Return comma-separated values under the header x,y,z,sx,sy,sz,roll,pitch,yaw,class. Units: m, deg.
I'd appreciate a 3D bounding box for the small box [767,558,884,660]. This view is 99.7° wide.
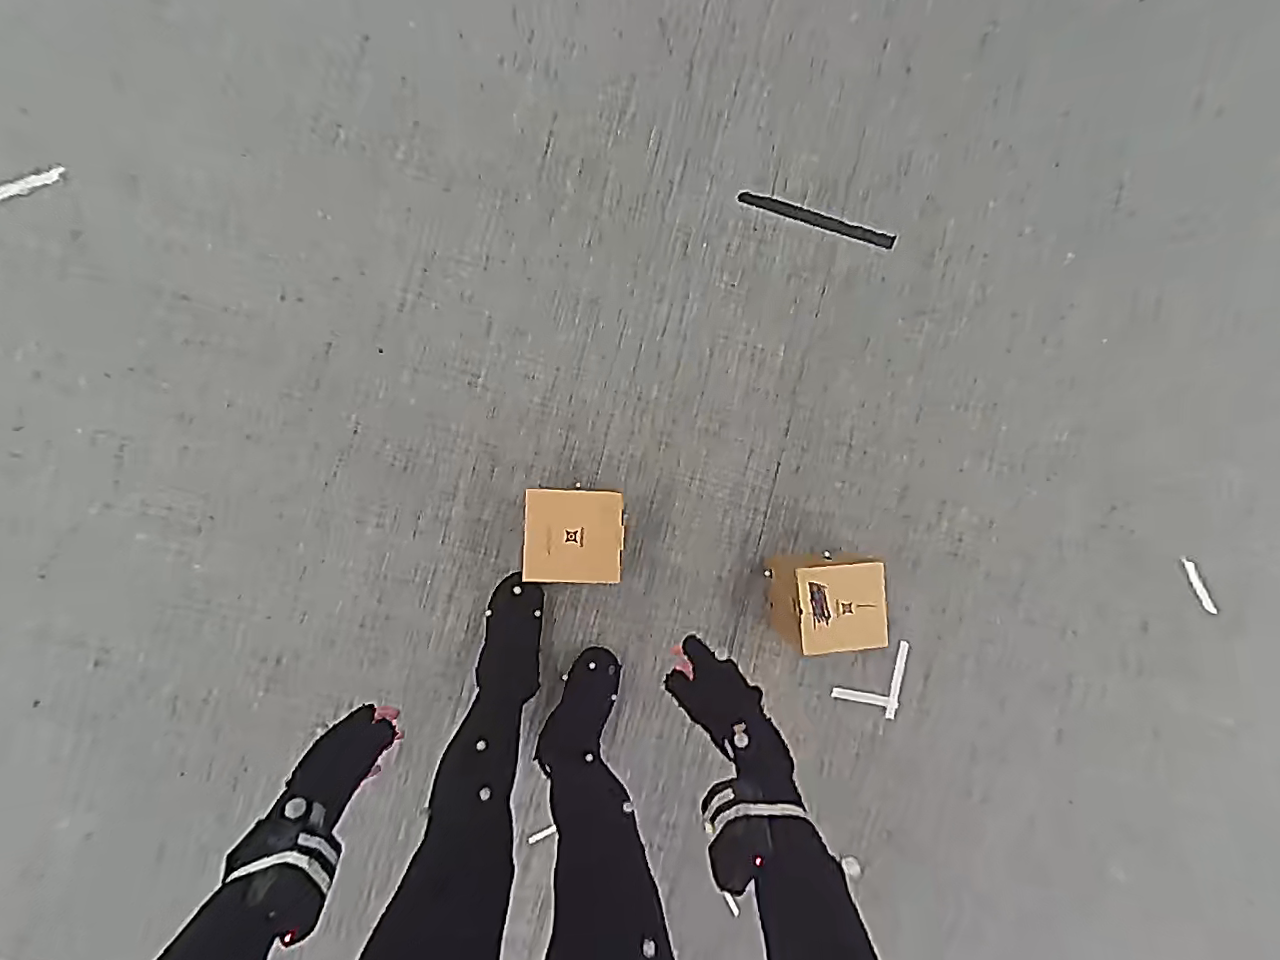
x,y,z,sx,sy,sz,roll,pitch,yaw,class
0.366,0.253,1.097,0.179,0.176,0.168,-3,90,-7,small box

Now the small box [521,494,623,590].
x,y,z,sx,sy,sz,roll,pitch,yaw,class
-0.129,0.113,1.040,0.179,0.176,0.168,2,88,-6,small box
